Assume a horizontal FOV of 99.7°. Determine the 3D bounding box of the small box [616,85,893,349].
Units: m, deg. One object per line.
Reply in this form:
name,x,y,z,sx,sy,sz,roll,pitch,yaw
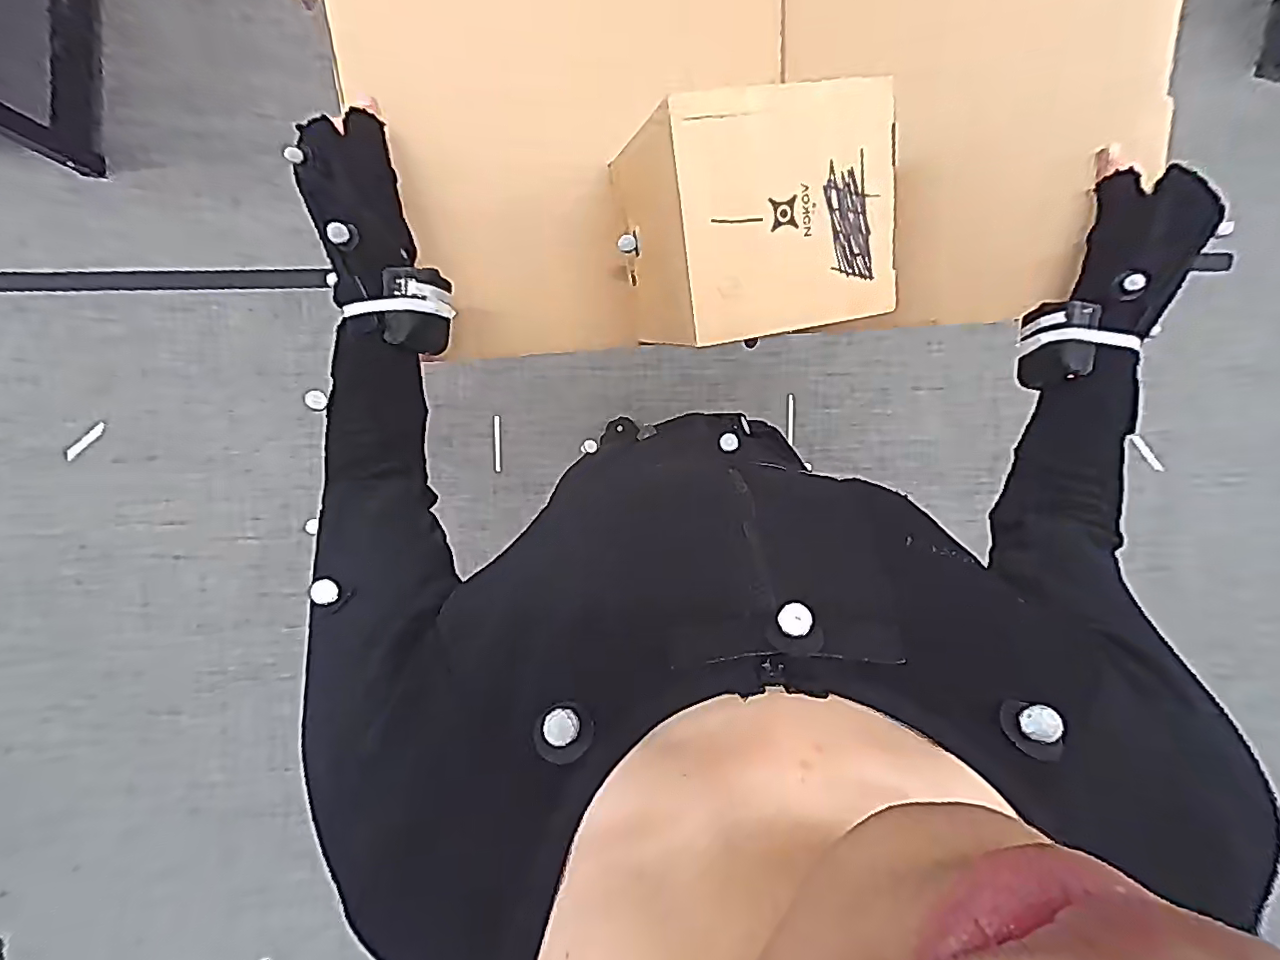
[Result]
small box,0.091,-0.215,0.473,0.179,0.176,0.168,-13,109,-11
